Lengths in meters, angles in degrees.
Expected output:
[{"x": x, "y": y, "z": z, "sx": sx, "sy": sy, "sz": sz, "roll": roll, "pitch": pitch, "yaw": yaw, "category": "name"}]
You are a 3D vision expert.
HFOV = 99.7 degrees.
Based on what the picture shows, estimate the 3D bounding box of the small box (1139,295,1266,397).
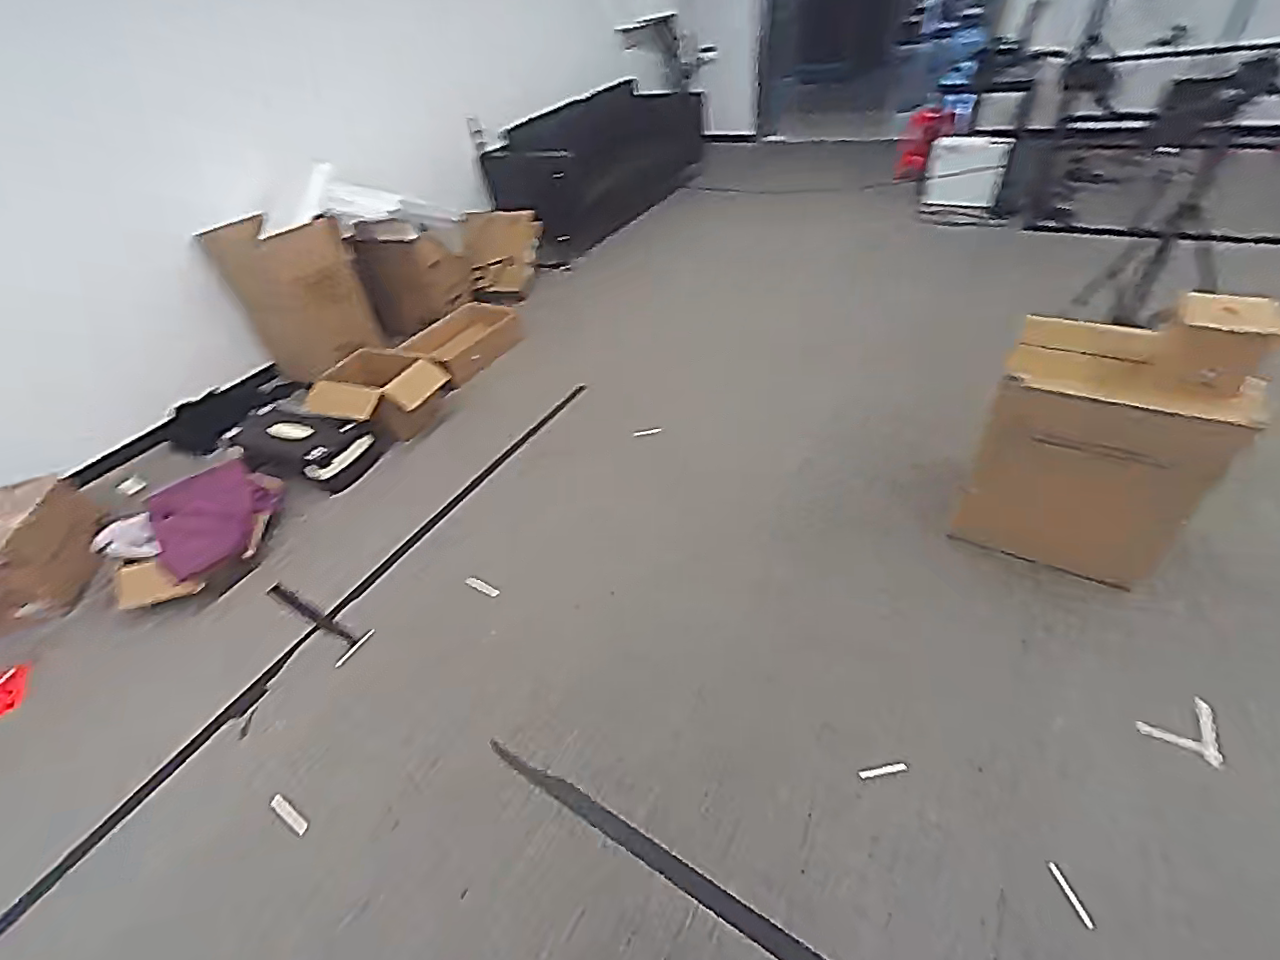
[{"x": 1.367, "y": -0.332, "z": 1.329, "sx": 0.168, "sy": 0.176, "sz": 0.179, "roll": 17, "pitch": 50, "yaw": 28, "category": "small box"}]
